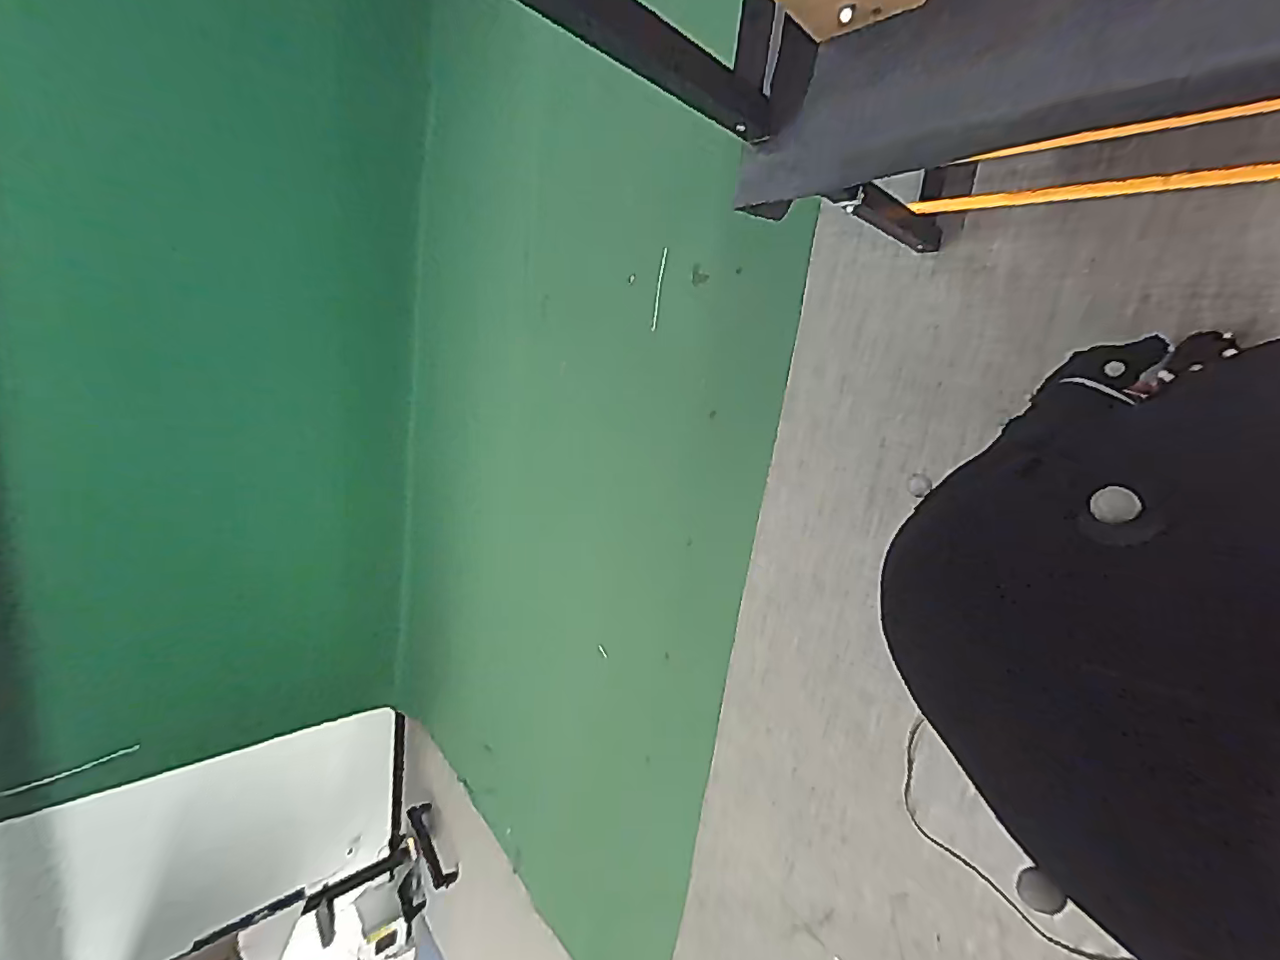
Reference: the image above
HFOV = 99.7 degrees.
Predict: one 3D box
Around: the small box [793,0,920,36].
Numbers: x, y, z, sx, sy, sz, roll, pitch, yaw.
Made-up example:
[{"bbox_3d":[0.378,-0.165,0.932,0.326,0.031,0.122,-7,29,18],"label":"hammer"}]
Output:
[{"bbox_3d":[0.285,-0.743,0.709,0.168,0.176,0.179,20,107,45],"label":"small box"}]
